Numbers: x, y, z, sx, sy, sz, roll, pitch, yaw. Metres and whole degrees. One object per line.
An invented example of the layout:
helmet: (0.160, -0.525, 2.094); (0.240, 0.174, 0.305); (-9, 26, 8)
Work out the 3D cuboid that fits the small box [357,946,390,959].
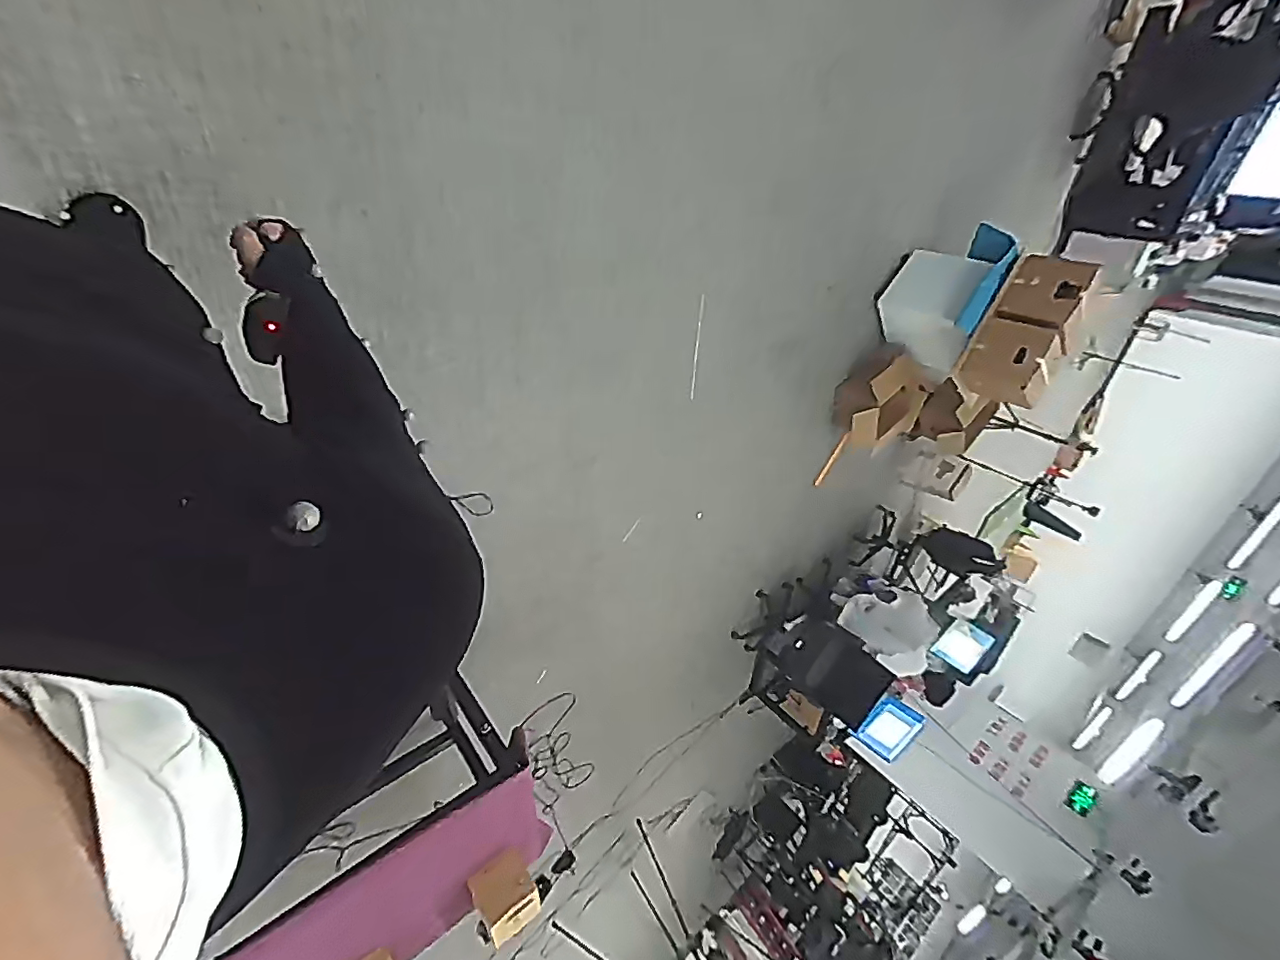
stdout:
small box: (-0.775, 1.481, 1.528); (0.168, 0.176, 0.179); (-23, 131, -34)
